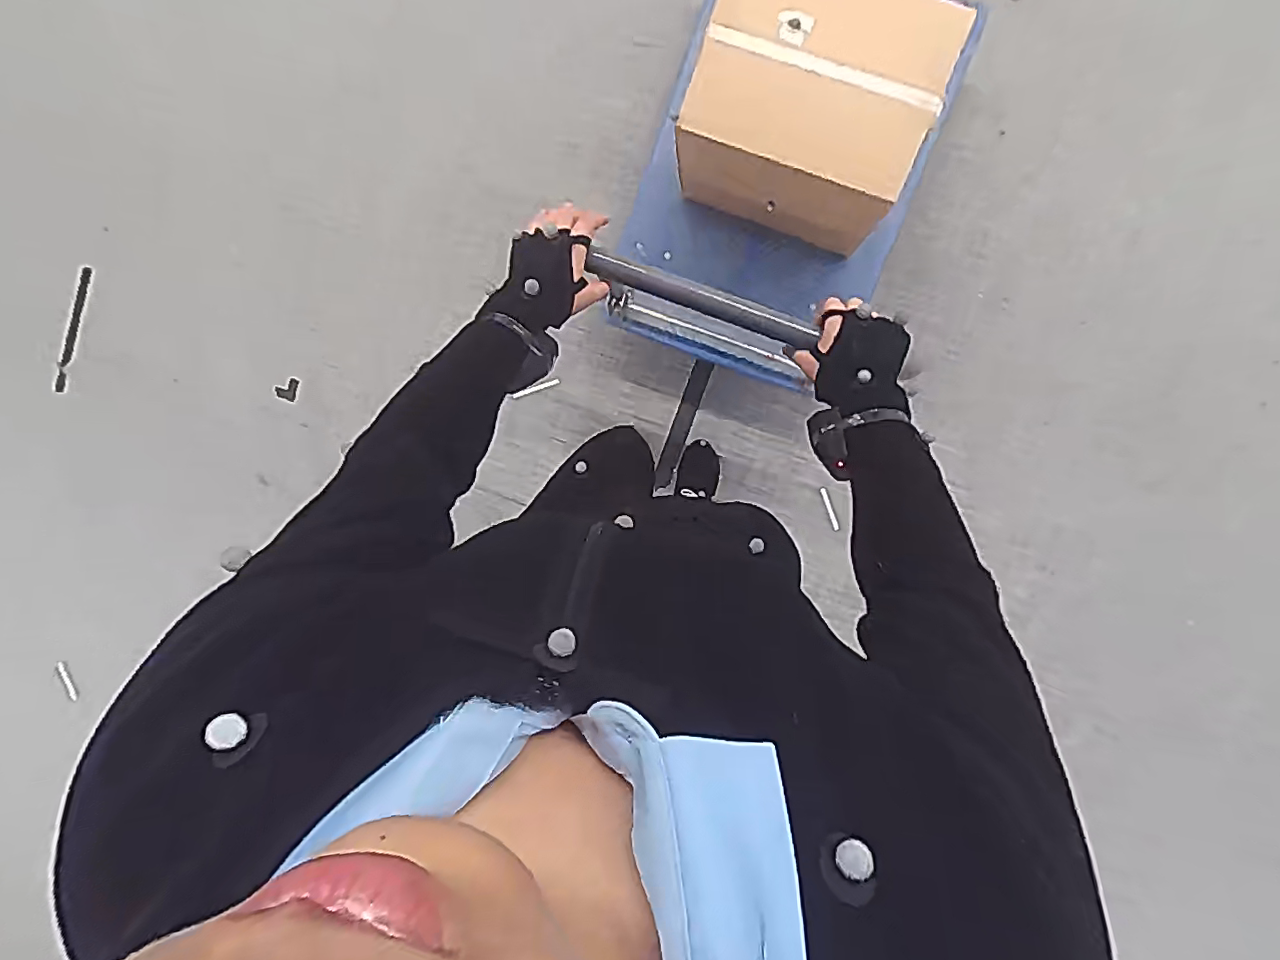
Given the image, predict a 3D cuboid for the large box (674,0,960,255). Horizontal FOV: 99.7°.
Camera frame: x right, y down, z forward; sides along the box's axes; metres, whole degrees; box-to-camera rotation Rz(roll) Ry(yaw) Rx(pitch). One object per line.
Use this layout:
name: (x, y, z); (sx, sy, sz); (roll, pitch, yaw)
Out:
large box: (0.317, -0.698, 1.075); (0.408, 0.320, 0.320); (22, 97, 5)
